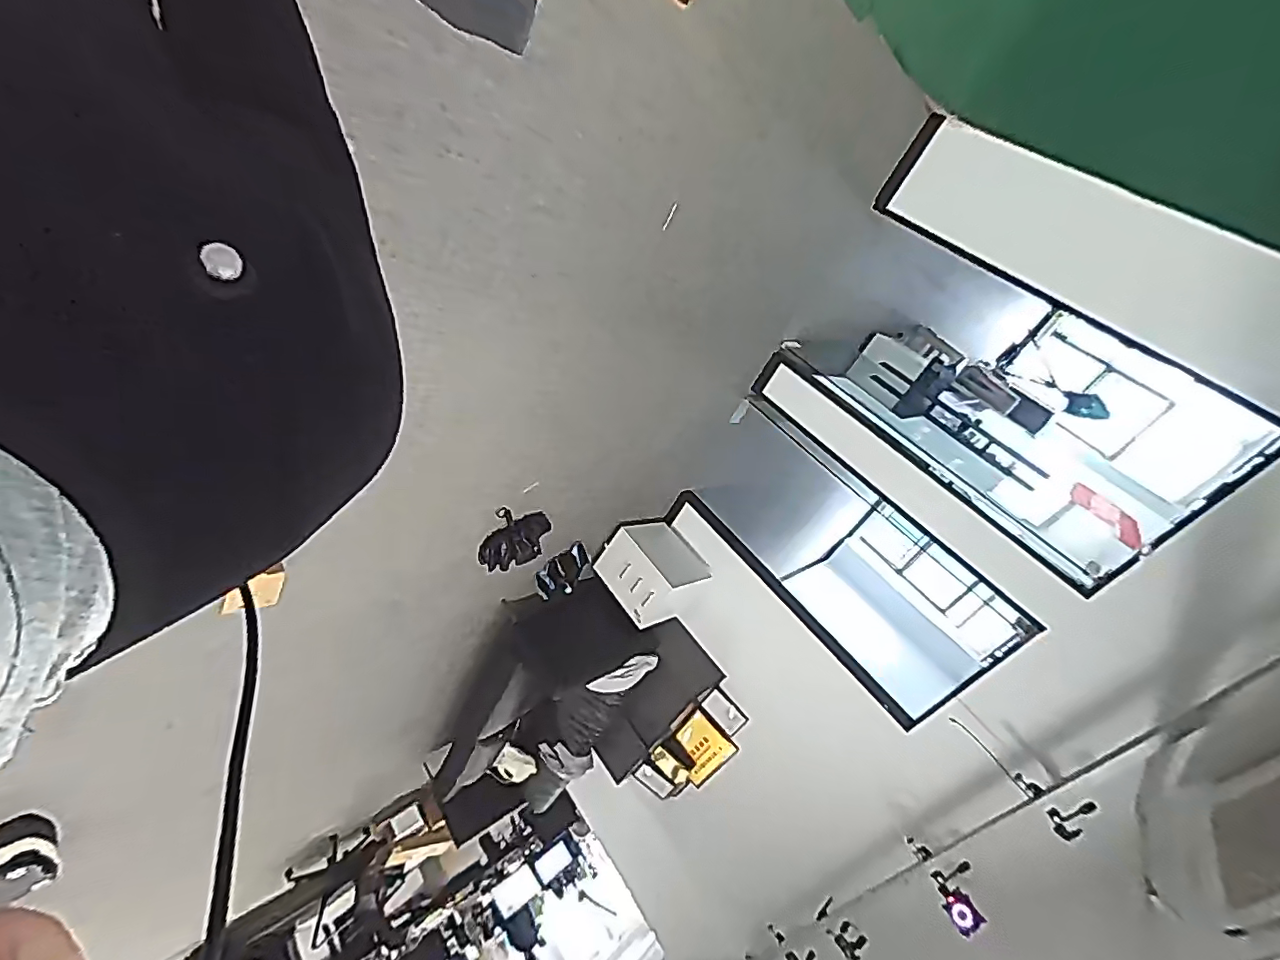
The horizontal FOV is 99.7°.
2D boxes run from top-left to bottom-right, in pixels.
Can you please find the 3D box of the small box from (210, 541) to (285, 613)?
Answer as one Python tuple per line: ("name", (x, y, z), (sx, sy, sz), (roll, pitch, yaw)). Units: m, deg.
("small box", (-1.381, 0.329, 1.897), (0.168, 0.176, 0.179), (-5, 135, -52))
